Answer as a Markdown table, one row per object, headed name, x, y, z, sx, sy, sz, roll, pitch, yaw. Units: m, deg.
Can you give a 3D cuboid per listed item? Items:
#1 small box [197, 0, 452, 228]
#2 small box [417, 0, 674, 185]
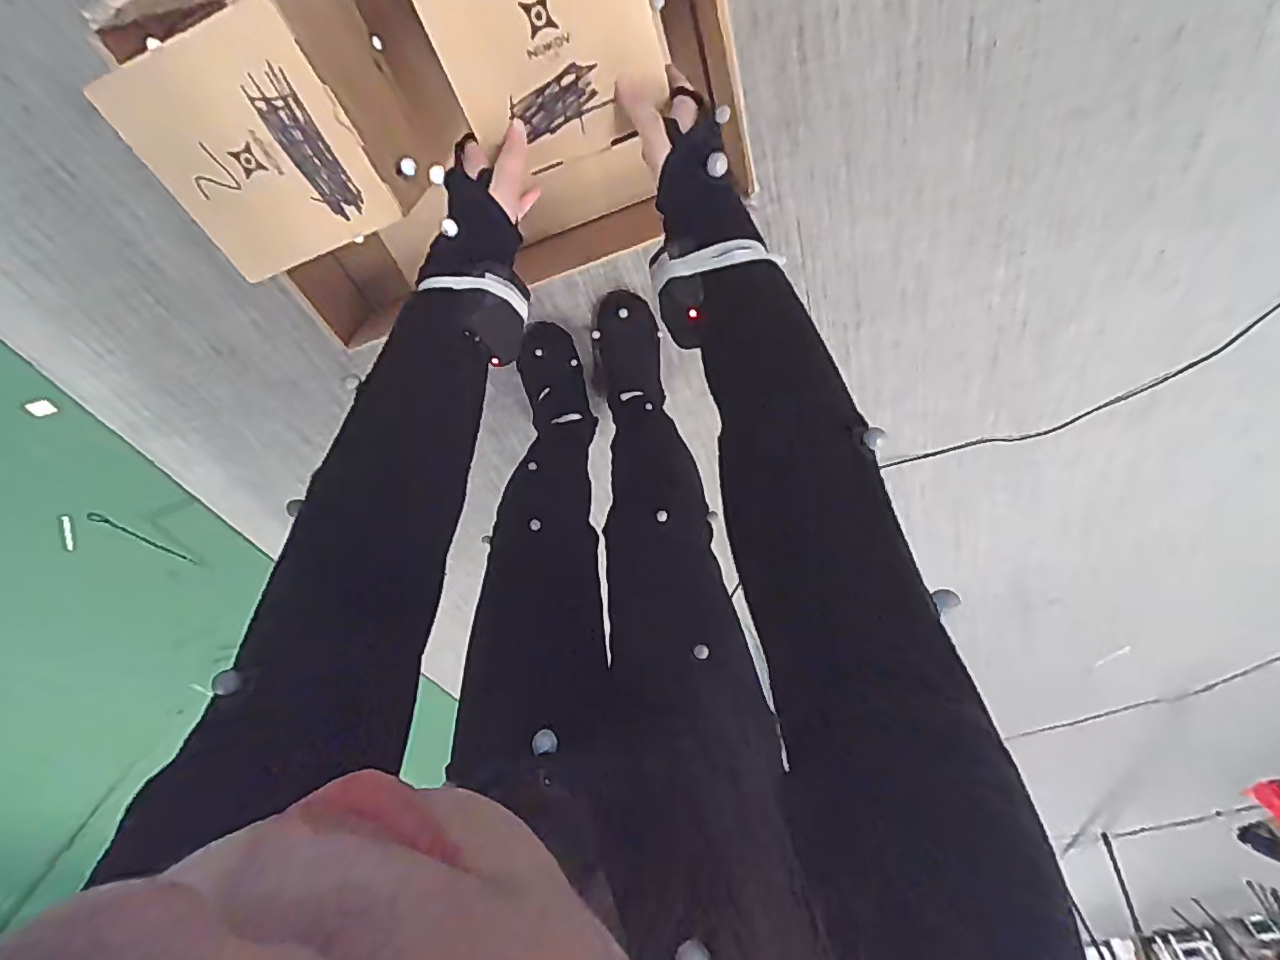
| name | x | y | z | sx | sy | sz | roll | pitch | yaw |
| --- | --- | --- | --- | --- | --- | --- | --- | --- | --- |
| small box | -0.344 | -0.433 | 0.637 | 0.168 | 0.176 | 0.179 | -14 | 132 | 7 |
| small box | -0.075 | -0.395 | 0.467 | 0.168 | 0.176 | 0.179 | -15 | 132 | 10 |
